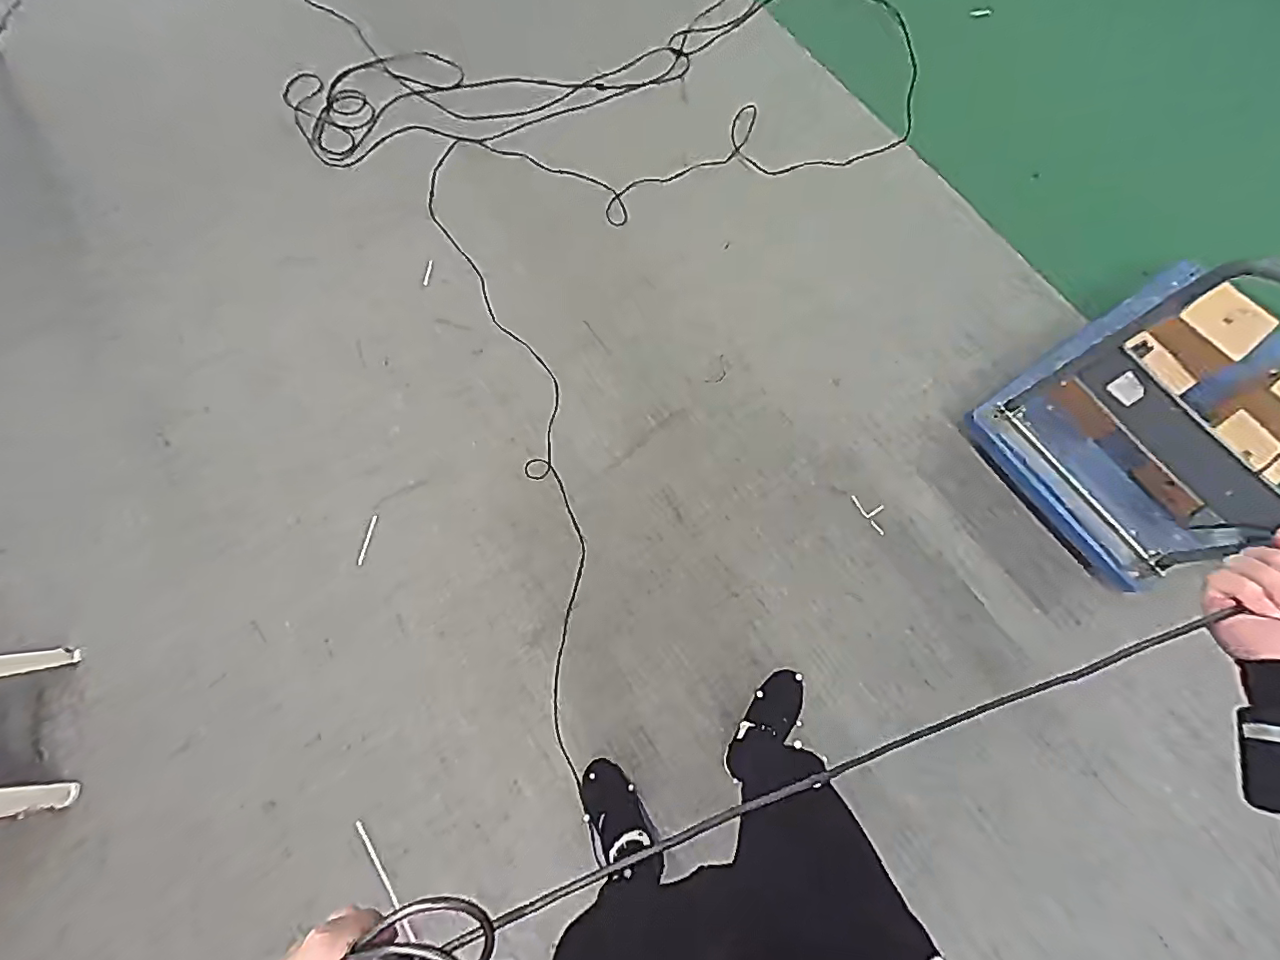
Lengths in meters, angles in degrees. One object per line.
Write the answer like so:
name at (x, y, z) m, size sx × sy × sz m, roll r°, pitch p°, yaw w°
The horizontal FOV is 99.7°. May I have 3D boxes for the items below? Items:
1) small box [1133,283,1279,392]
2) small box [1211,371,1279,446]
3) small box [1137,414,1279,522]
small box at (1.435, -0.357, 1.386) m, size 0.179 × 0.176 × 0.168 m, roll -36°, pitch 77°, yaw -9°
small box at (1.588, -0.166, 1.326) m, size 0.179 × 0.176 × 0.168 m, roll -36°, pitch 75°, yaw -8°
small box at (1.362, -0.023, 1.287) m, size 0.179 × 0.176 × 0.168 m, roll -32°, pitch 75°, yaw -7°
